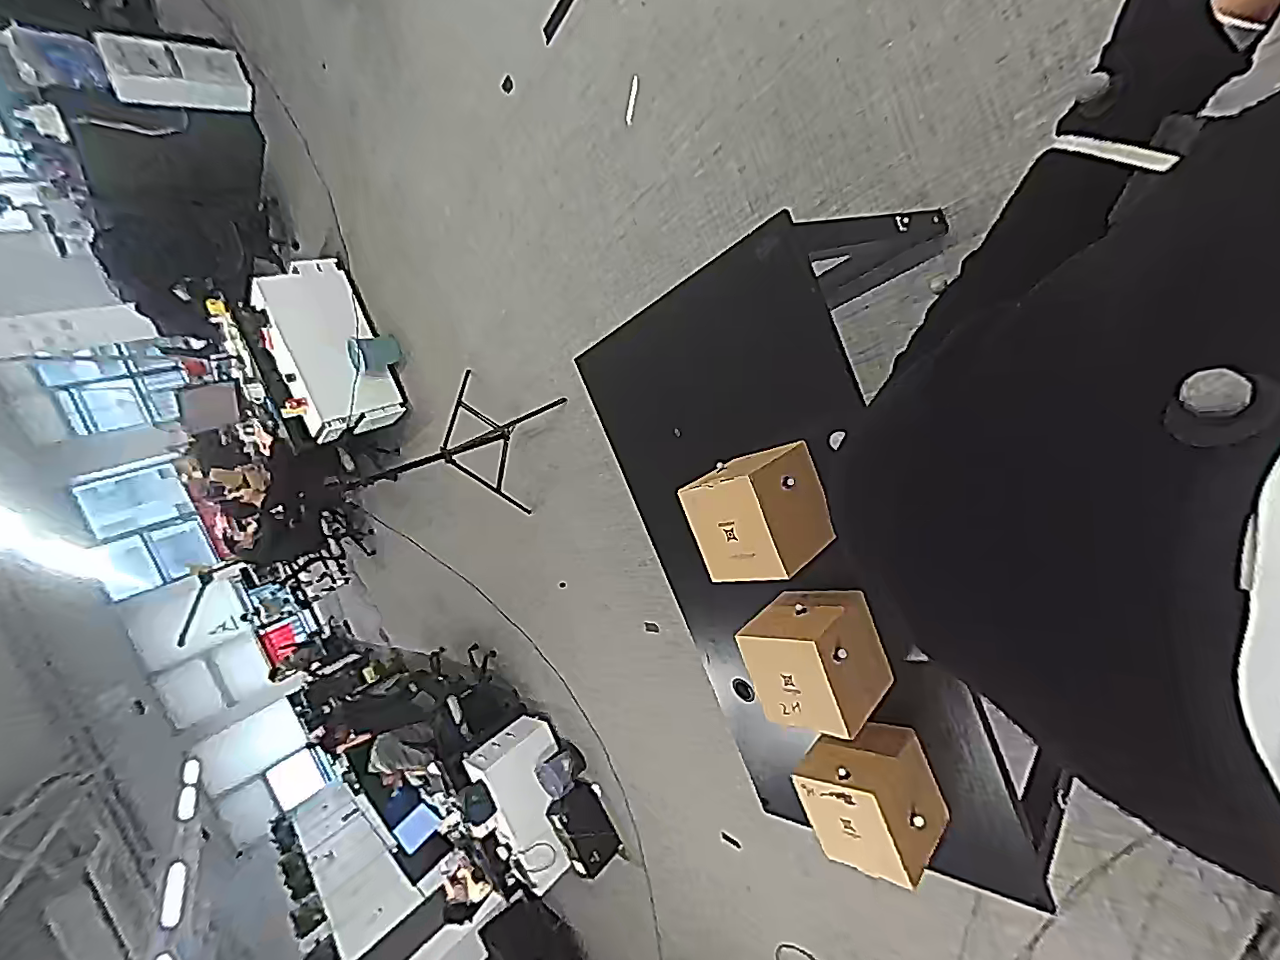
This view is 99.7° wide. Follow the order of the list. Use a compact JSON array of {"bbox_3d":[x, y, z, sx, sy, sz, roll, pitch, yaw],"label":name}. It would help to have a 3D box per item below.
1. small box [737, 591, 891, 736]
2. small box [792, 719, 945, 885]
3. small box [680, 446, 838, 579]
[{"bbox_3d":[0.305,0.305,0.946,0.168,0.176,0.179,-15,99,51],"label":"small box"},{"bbox_3d":[0.411,0.556,0.966,0.168,0.176,0.179,-21,94,51],"label":"small box"},{"bbox_3d":[0.204,0.052,0.923,0.168,0.176,0.179,-16,99,52],"label":"small box"}]
